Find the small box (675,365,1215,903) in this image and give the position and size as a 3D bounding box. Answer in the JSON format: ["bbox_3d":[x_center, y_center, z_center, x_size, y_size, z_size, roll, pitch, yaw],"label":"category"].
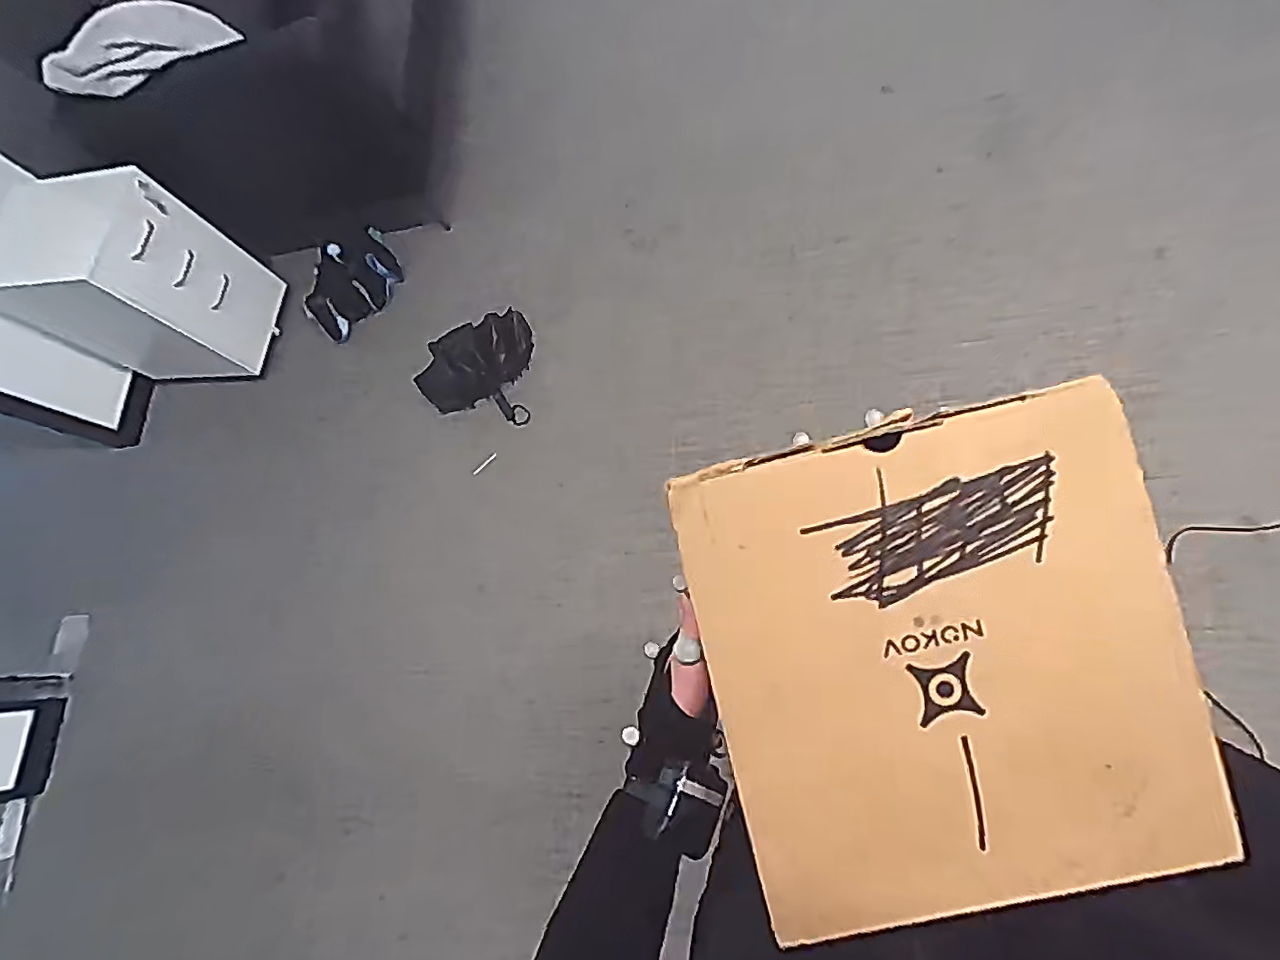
[{"bbox_3d":[0.115,0.060,0.284,0.168,0.176,0.179,-14,88,4],"label":"small box"}]
